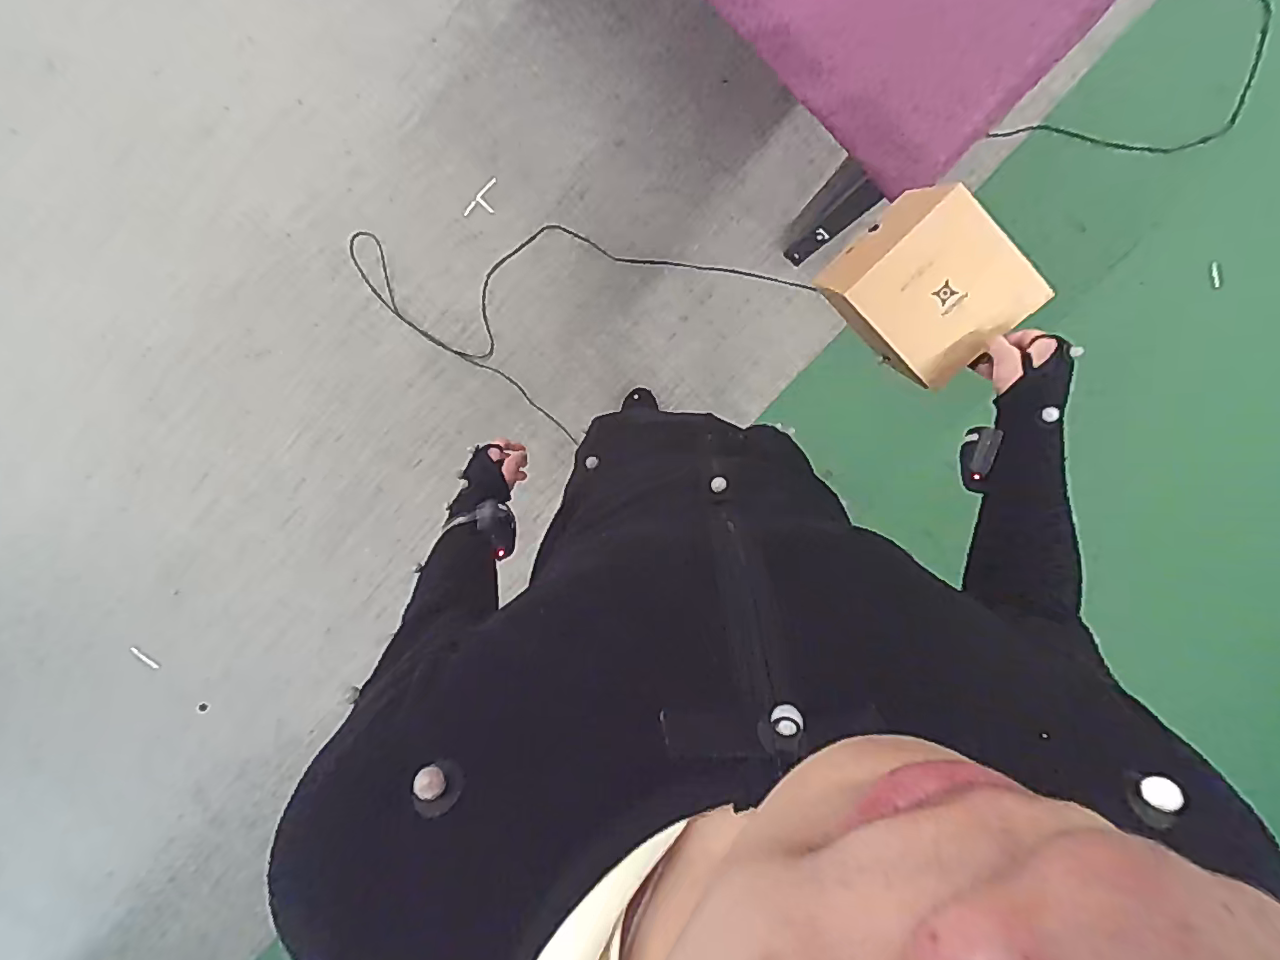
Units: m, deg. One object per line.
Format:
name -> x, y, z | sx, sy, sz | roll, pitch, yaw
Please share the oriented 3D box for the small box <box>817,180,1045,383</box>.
small box -> 0.366, -0.263, 0.714 | 0.179, 0.176, 0.168 | 40, 111, -15
